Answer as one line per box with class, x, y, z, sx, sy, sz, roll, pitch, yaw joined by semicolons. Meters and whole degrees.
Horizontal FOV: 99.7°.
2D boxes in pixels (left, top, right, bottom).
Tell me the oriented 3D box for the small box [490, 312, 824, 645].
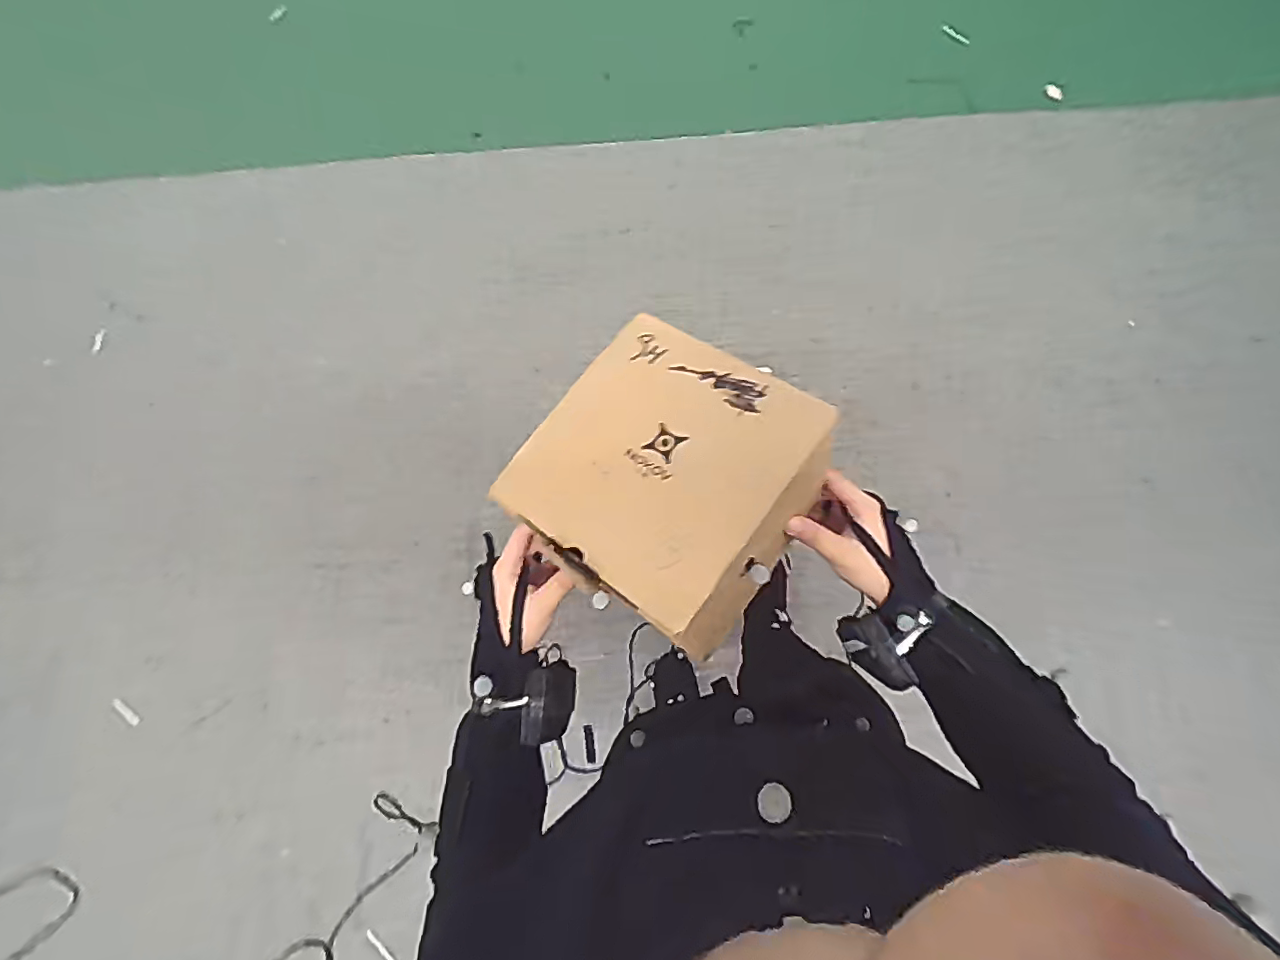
small box;0.025;0.010;0.430;0.168;0.176;0.179;33;78;23
